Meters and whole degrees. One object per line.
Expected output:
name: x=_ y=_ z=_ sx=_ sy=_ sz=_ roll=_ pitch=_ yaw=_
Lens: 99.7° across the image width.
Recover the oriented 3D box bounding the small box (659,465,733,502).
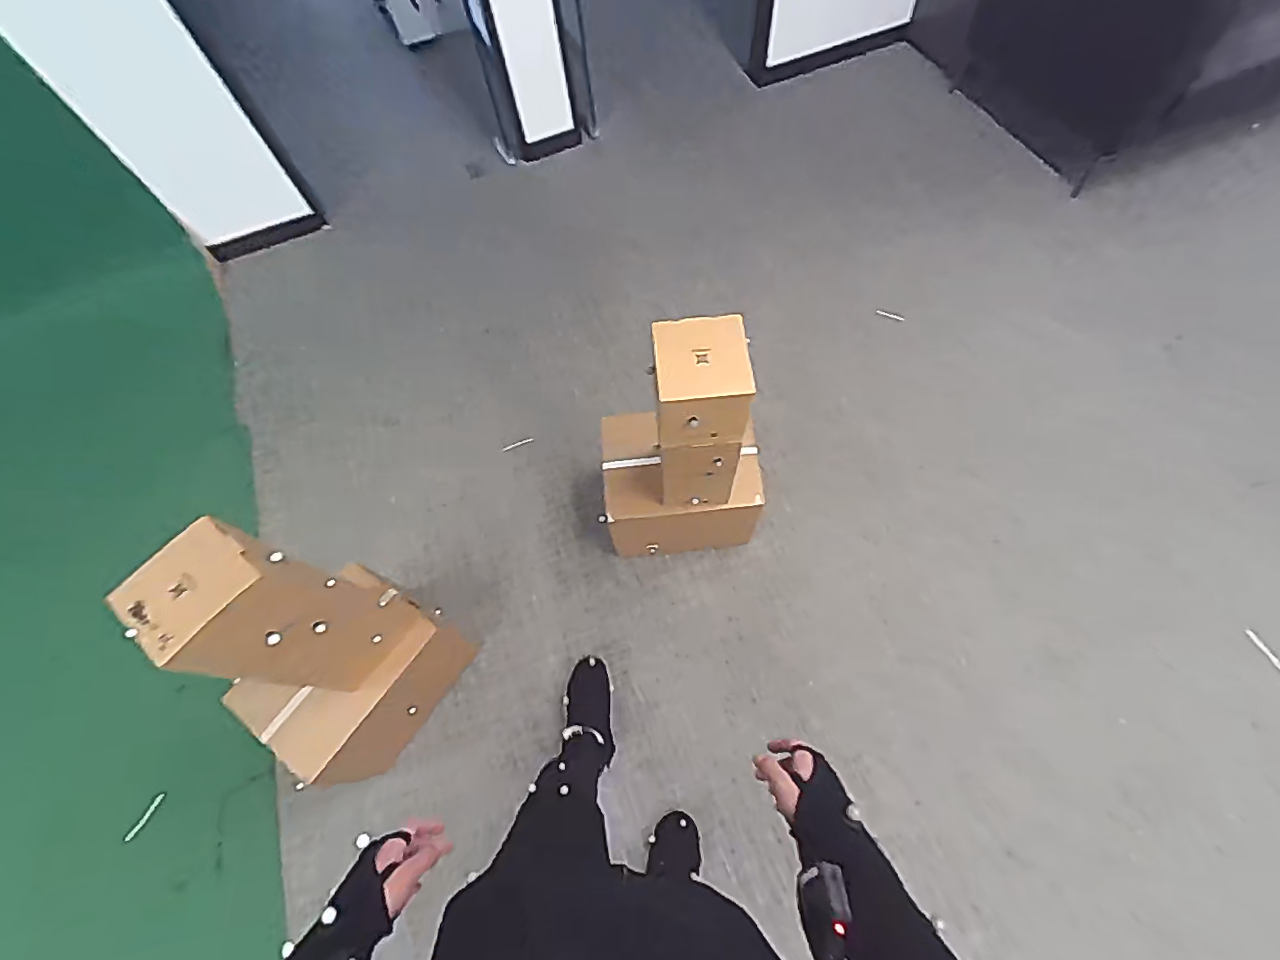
small box: x=0.129 y=-0.060 z=1.316 sx=0.168 sy=0.176 sz=0.179 roll=-4 pitch=66 yaw=3

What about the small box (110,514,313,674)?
small box: x=-0.684 y=0.193 z=0.892 sx=0.168 sy=0.176 sz=0.179 roll=35 pitch=71 yaw=19

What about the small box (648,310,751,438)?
small box: x=0.107 y=-0.190 z=1.020 sx=0.168 sy=0.176 sz=0.179 roll=-6 pitch=65 yaw=1

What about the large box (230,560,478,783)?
large box: x=-0.699 y=0.483 z=1.393 sx=0.320 sy=0.320 sz=0.408 roll=30 pitch=71 yaw=18

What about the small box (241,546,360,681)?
small box: x=-0.677 y=0.261 z=1.040 sx=0.168 sy=0.176 sz=0.179 roll=35 pitch=72 yaw=19

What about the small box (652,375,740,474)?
small box: x=0.117 y=-0.122 z=1.166 sx=0.168 sy=0.176 sz=0.179 roll=-5 pitch=65 yaw=1
